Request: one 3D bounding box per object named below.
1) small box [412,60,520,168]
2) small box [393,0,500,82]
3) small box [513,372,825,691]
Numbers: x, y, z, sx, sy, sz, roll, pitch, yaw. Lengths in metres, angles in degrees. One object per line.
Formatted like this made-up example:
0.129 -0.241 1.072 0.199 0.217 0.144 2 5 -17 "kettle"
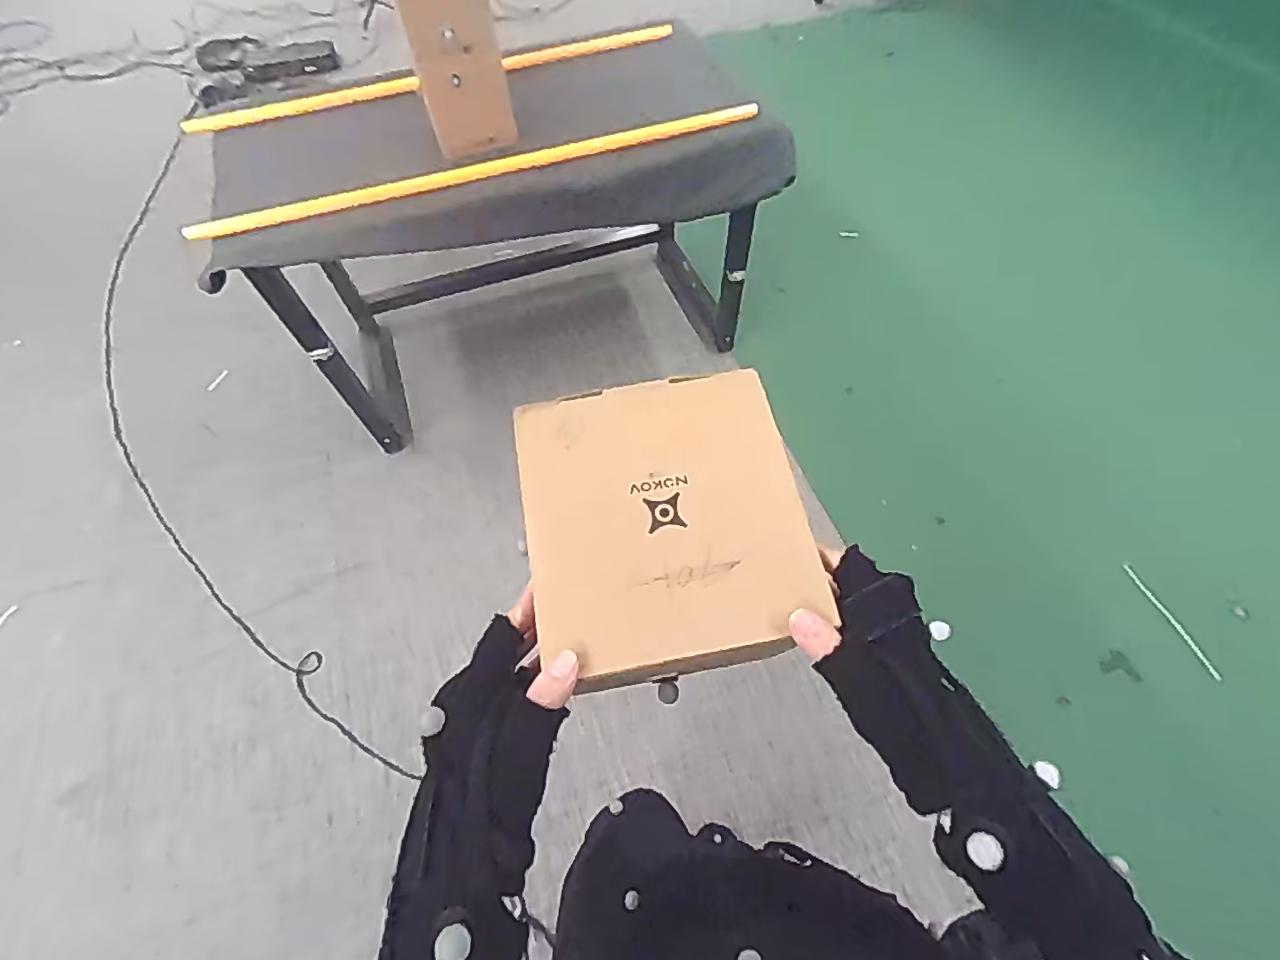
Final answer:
-0.376 -0.815 1.174 0.168 0.176 0.179 -20 60 -9 "small box"
-0.381 -0.903 1.035 0.168 0.176 0.179 -19 61 -9 "small box"
0.009 0.048 0.403 0.168 0.176 0.179 -10 67 -4 "small box"
